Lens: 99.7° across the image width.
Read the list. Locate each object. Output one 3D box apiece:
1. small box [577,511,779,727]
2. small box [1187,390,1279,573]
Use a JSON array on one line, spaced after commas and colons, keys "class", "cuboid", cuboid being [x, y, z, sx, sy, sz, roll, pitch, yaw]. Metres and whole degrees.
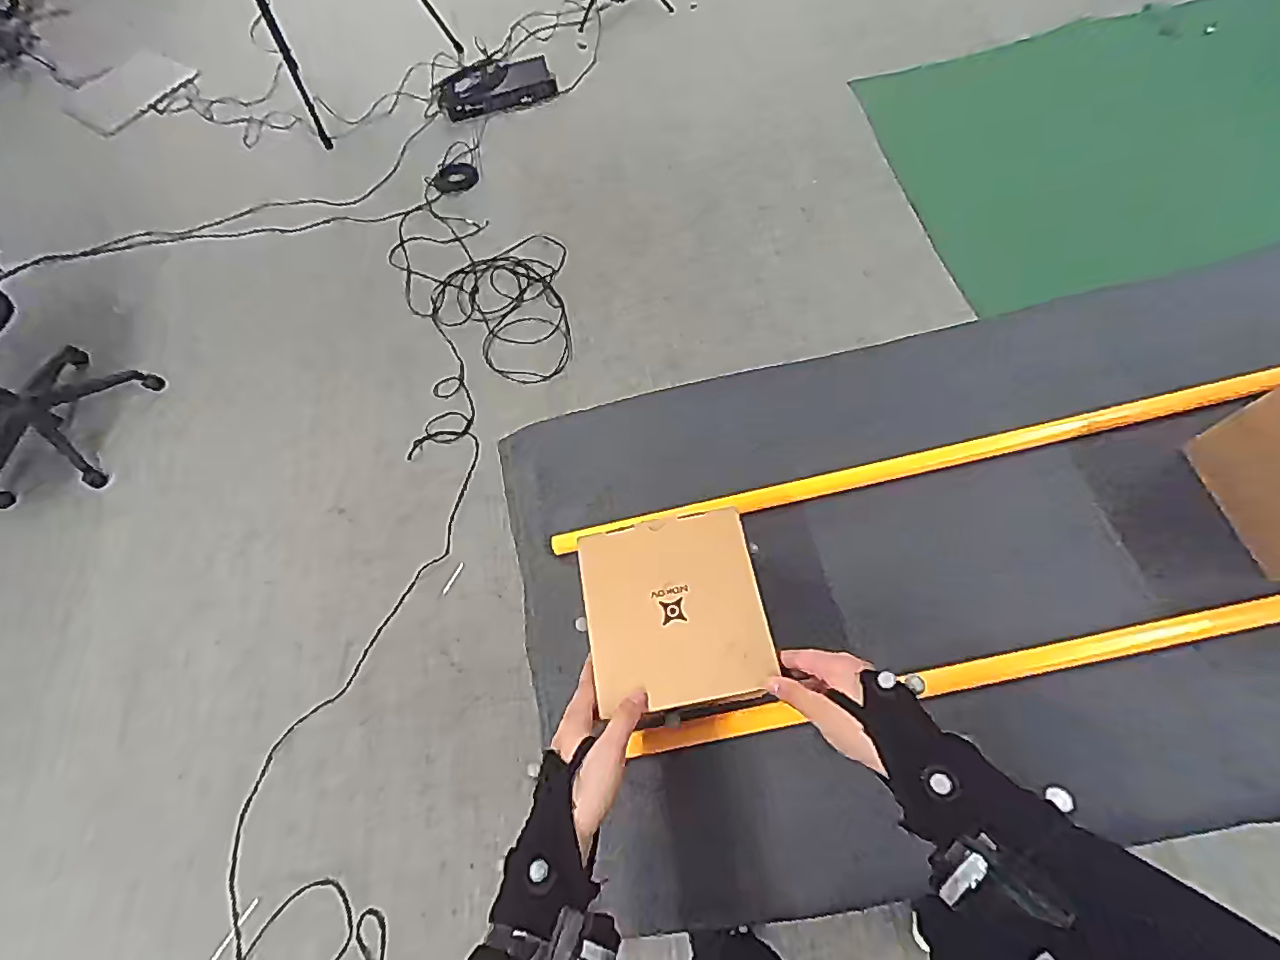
[{"class": "small box", "cuboid": [0.038, 0.155, 0.576, 0.168, 0.176, 0.179, -11, 64, 1]}, {"class": "small box", "cuboid": [0.740, -0.006, 0.547, 0.168, 0.176, 0.179, -10, 65, 4]}]
